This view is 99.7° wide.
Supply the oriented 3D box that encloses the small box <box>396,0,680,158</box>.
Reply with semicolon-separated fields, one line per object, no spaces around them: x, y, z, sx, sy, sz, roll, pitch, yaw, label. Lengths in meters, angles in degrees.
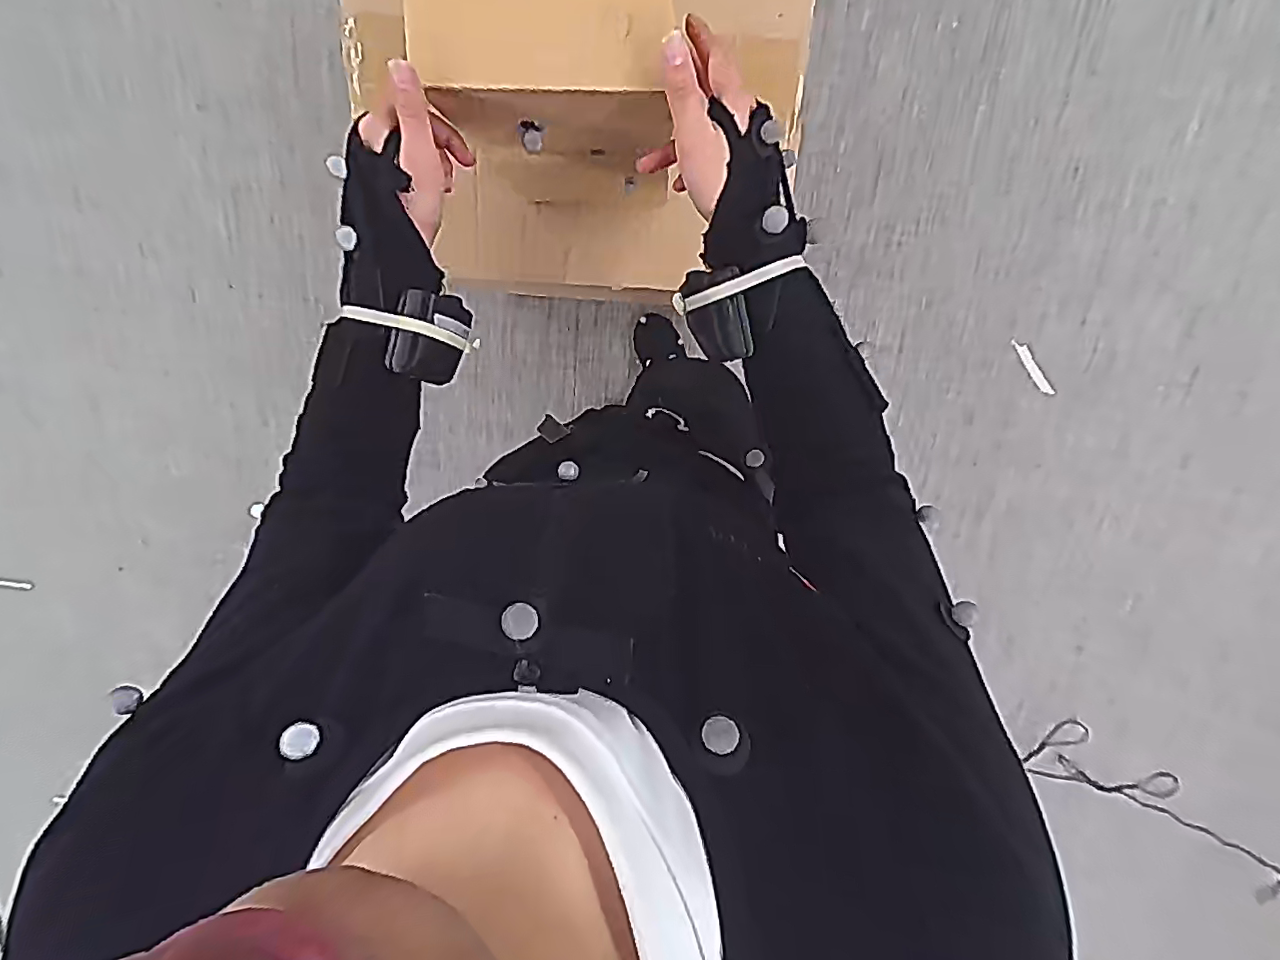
-0.055;-0.343;0.377;0.168;0.176;0.179;2;106;2;small box
